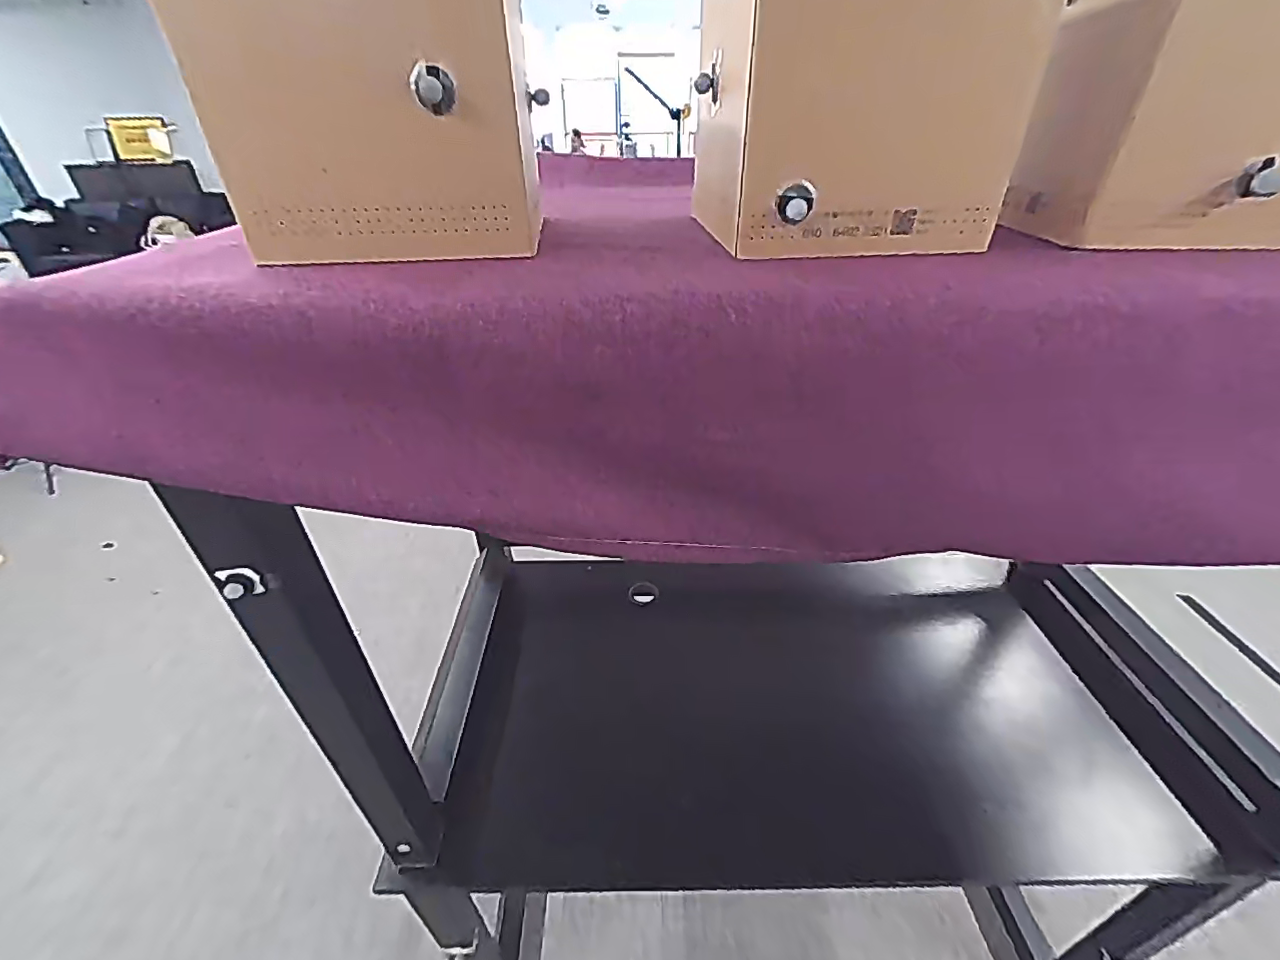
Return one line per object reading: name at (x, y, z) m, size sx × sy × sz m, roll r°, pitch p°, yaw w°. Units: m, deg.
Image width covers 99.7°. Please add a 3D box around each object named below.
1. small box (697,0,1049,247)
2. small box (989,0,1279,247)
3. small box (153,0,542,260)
small box at (0.133, -0.258, 0.362) m, size 0.168 × 0.176 × 0.179 m, roll -3°, pitch 33°, yaw -3°
small box at (0.366, -0.259, 0.359) m, size 0.179 × 0.176 × 0.168 m, roll 2°, pitch 34°, yaw 2°
small box at (-0.162, -0.252, 0.360) m, size 0.179 × 0.176 × 0.168 m, roll -4°, pitch 34°, yaw -4°
